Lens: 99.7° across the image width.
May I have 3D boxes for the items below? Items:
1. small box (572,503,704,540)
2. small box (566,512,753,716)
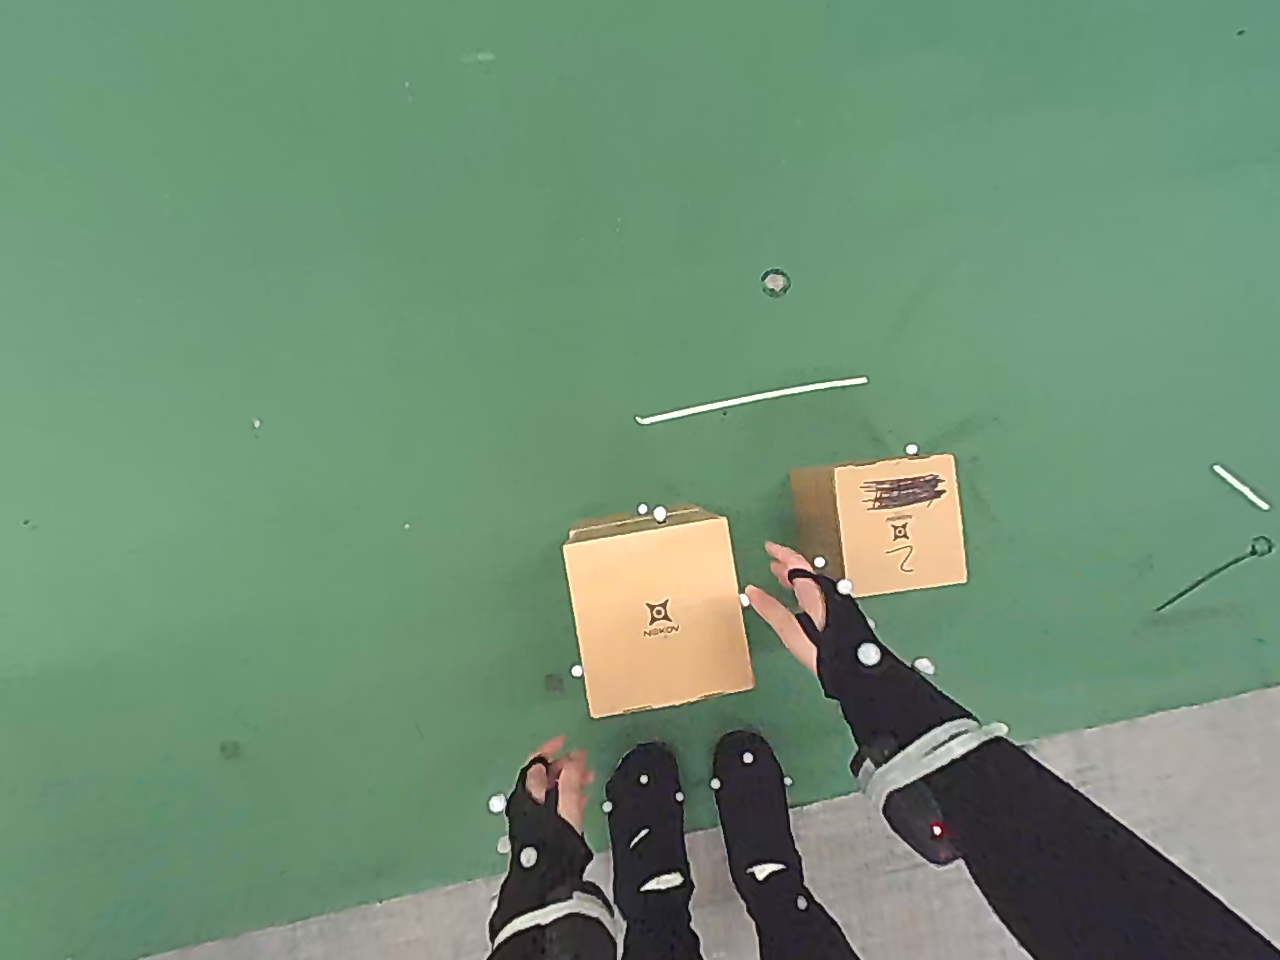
[{"bbox_3d":[0.007,0.130,0.774,0.179,0.176,0.168,-10,91,-1],"label":"small box"},{"bbox_3d":[0.015,0.133,0.611,0.168,0.176,0.179,-10,91,-2],"label":"small box"}]
